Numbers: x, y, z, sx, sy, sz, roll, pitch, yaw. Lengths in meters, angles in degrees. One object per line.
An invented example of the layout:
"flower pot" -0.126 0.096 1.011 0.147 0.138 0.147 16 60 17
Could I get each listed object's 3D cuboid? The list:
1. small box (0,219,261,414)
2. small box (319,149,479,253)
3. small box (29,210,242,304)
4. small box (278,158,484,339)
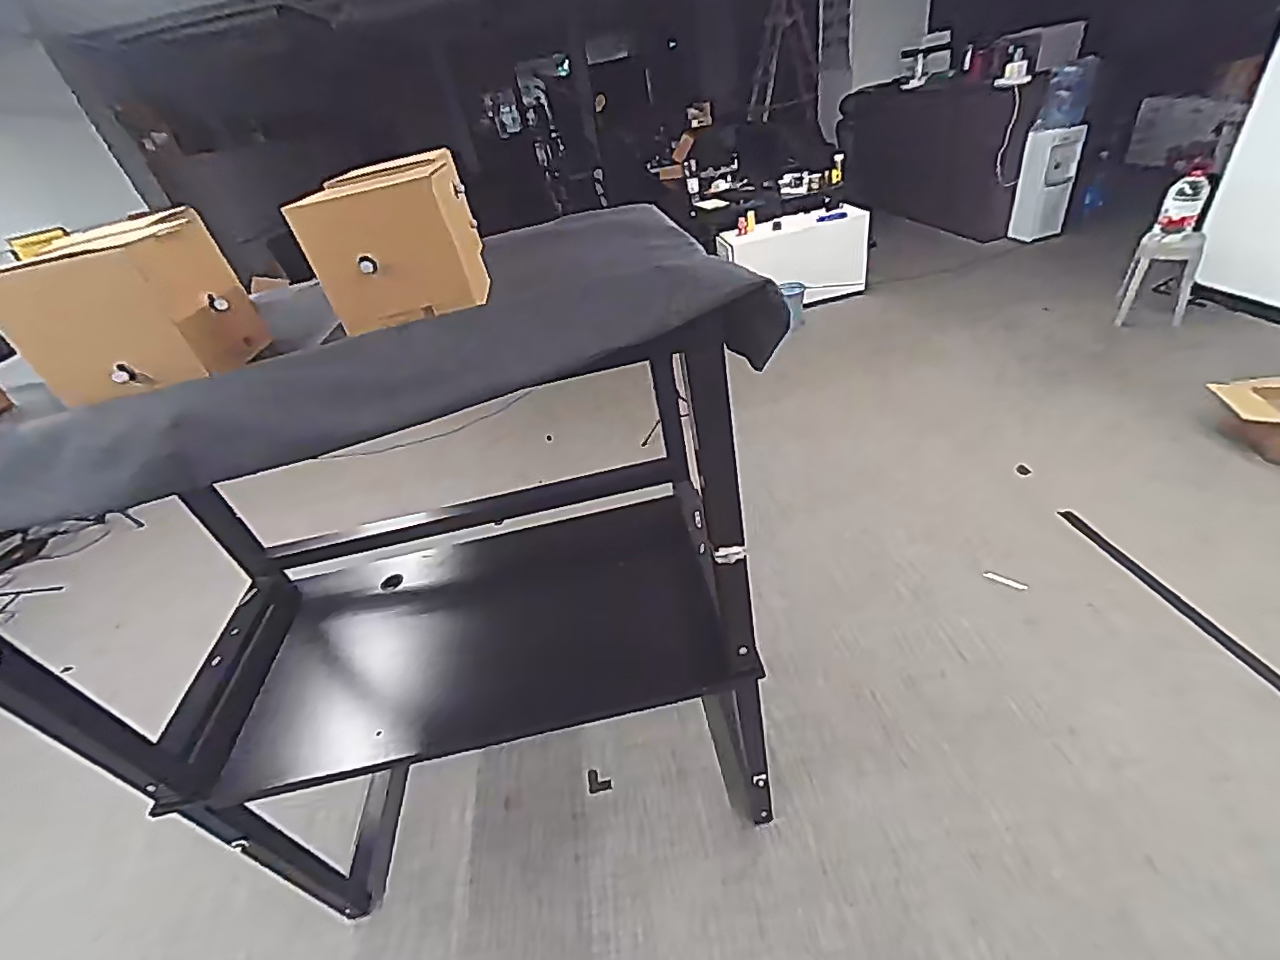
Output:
"small box" -0.621 -0.202 0.665 0.179 0.176 0.168 -13 34 -2
"small box" -0.397 -0.447 0.926 0.179 0.176 0.168 -14 37 -1
"small box" -0.814 -0.332 0.902 0.168 0.176 0.179 -18 36 -6
"small box" -0.311 -0.295 0.696 0.168 0.176 0.179 -15 35 -2
